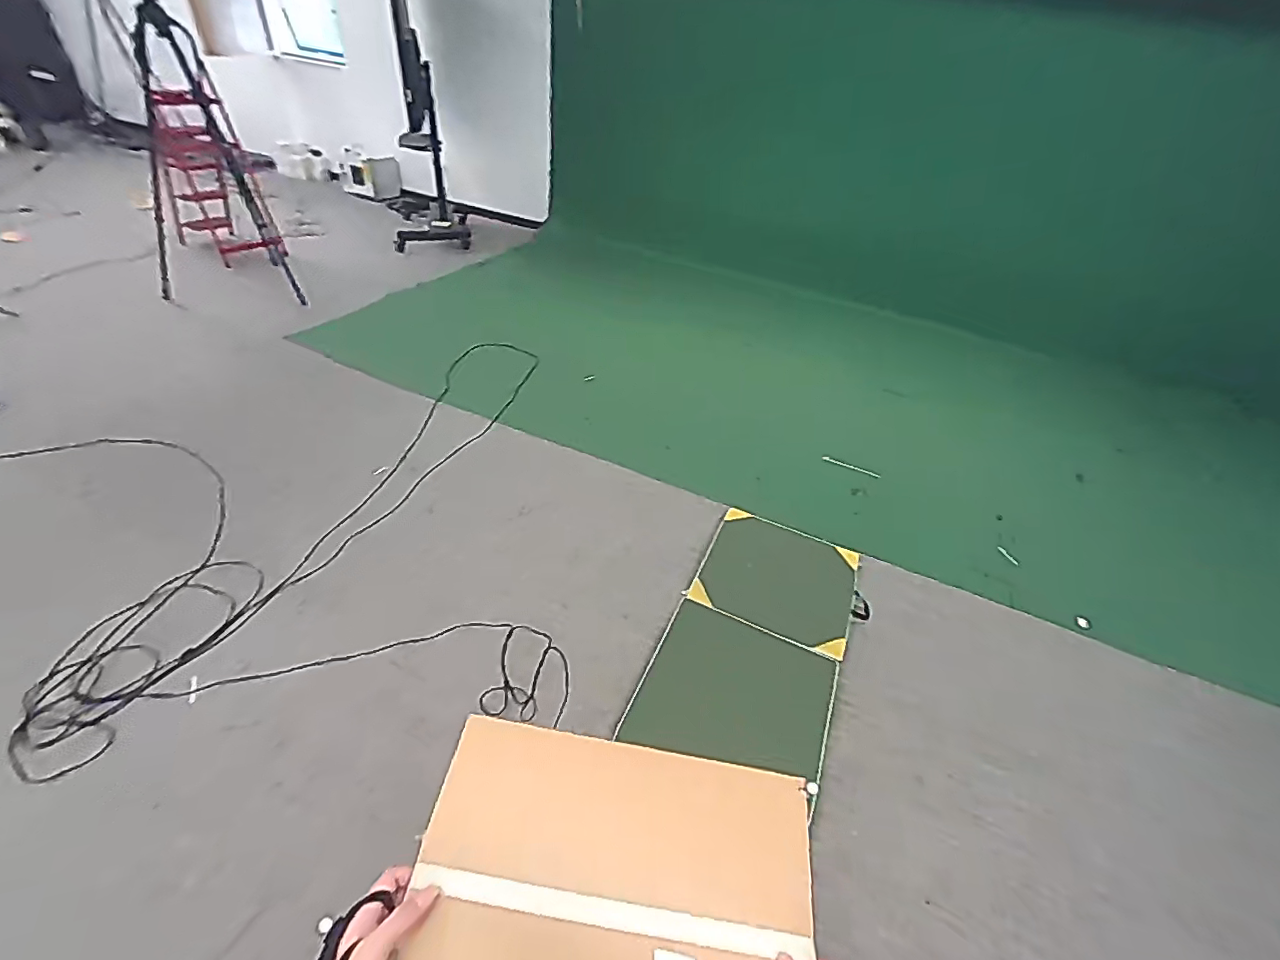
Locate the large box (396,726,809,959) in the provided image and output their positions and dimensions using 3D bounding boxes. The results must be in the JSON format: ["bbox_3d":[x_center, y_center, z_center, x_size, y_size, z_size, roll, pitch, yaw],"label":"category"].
[{"bbox_3d":[-0.043,0.536,0.654,0.408,0.320,0.320,10,48,1],"label":"large box"}]
